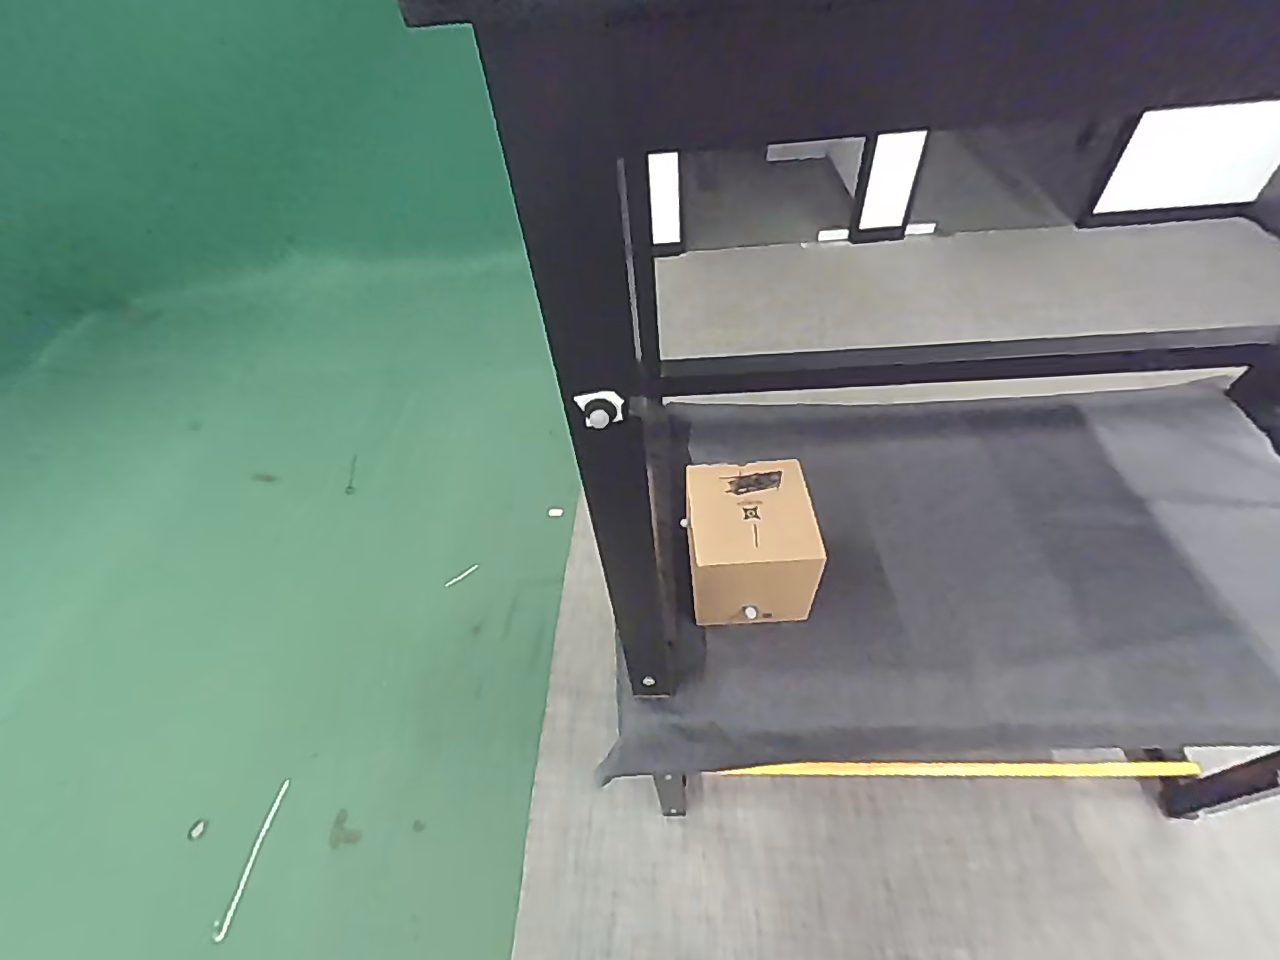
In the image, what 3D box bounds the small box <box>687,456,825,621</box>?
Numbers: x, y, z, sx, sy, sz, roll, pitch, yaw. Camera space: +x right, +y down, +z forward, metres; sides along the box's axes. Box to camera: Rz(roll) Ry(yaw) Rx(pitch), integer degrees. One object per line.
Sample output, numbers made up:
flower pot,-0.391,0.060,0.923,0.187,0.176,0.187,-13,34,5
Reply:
small box,0.156,0.087,0.795,0.168,0.176,0.179,-4,48,3
